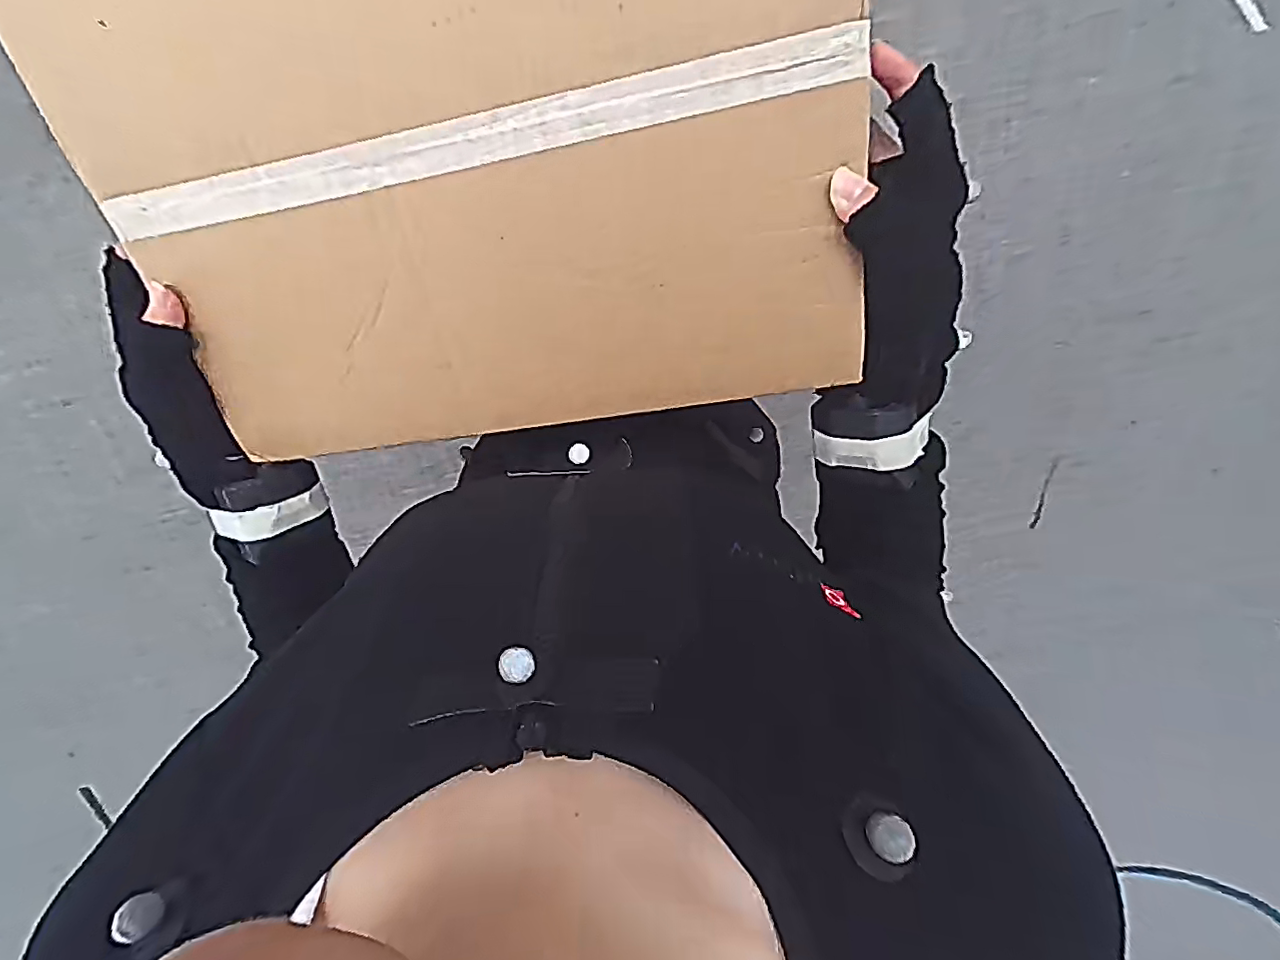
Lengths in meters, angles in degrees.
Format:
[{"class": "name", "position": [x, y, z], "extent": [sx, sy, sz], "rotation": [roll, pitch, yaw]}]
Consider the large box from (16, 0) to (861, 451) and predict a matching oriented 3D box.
[{"class": "large box", "position": [-0.079, -0.249, 0.408], "extent": [0.408, 0.320, 0.320], "rotation": [-6, 118, 9]}]
